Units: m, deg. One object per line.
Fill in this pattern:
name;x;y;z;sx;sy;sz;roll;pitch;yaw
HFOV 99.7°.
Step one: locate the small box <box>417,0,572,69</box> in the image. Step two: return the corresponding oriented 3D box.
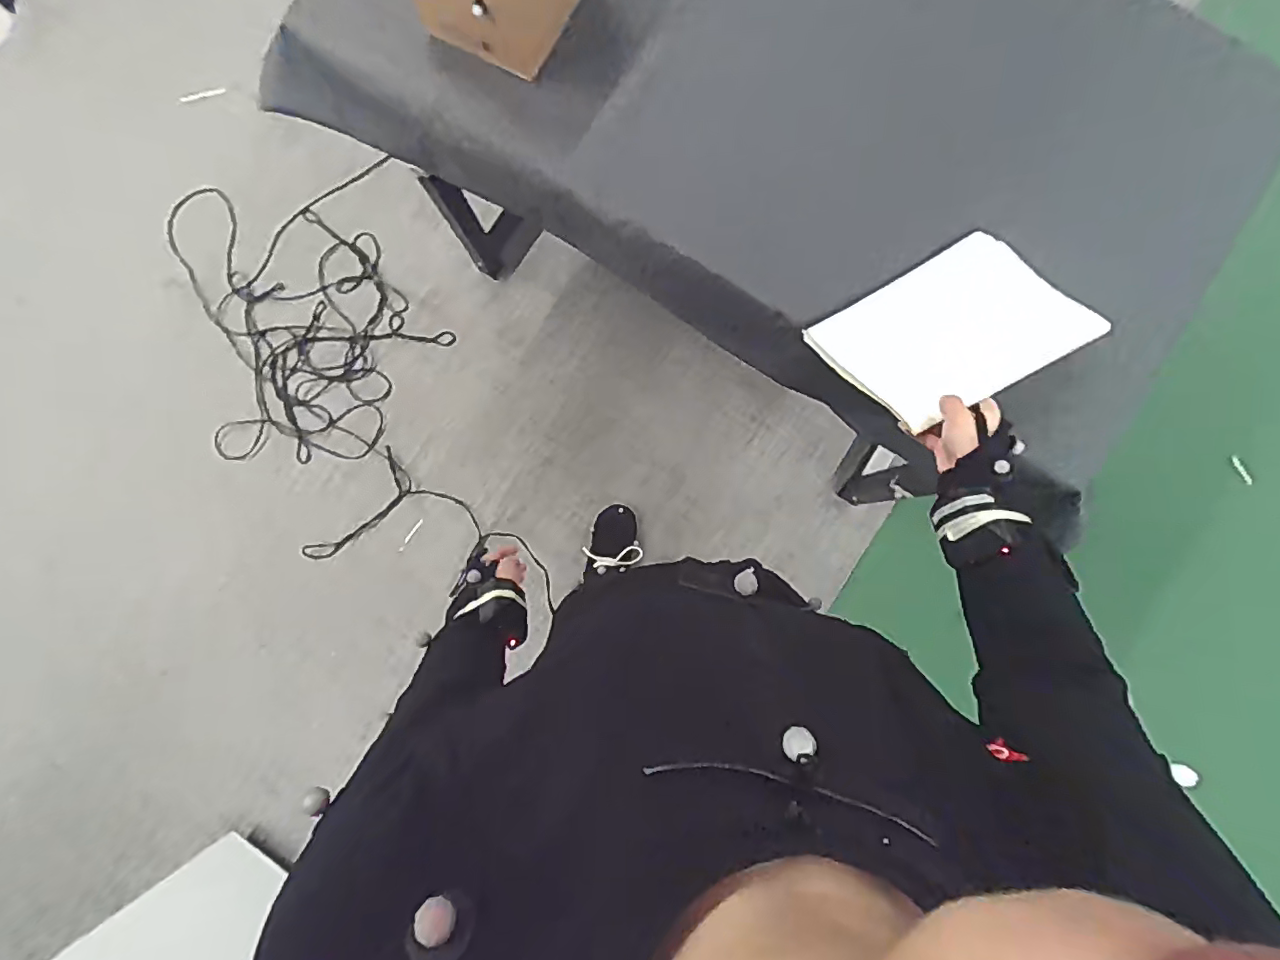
small box;-0.180;-0.648;0.640;0.168;0.176;0.179;27;85;2
